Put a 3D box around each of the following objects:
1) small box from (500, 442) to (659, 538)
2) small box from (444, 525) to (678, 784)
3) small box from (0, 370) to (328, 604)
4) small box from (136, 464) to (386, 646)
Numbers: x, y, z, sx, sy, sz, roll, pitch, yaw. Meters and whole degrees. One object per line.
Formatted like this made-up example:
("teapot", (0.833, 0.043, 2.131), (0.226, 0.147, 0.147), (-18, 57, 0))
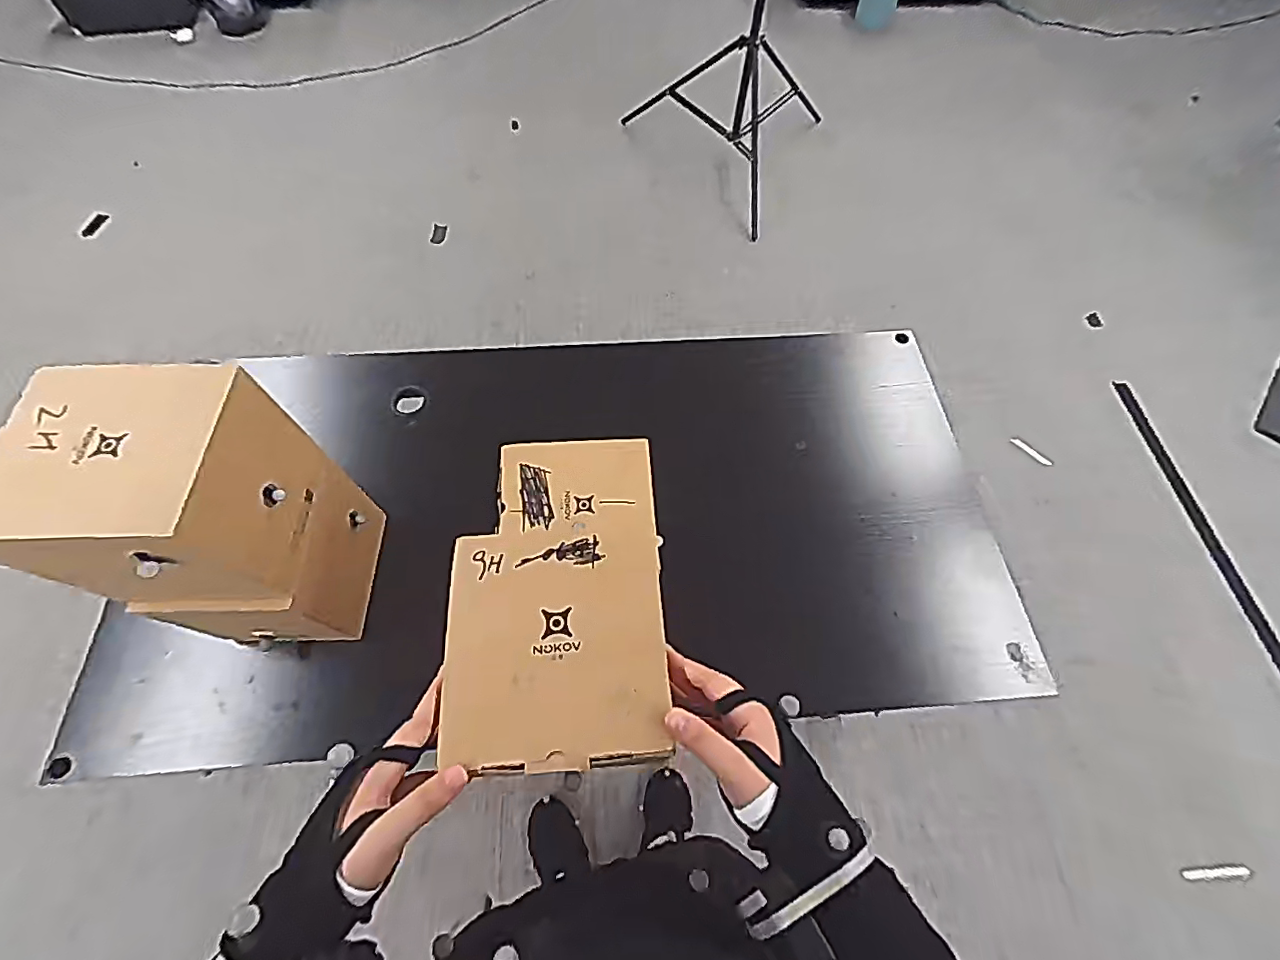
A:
("small box", (-0.070, 0.067, 0.676), (0.179, 0.176, 0.168), (-3, 63, -4))
("small box", (-0.057, 0.156, 0.474), (0.168, 0.176, 0.179), (-5, 63, -1))
("small box", (-0.432, 0.015, 0.509), (0.179, 0.176, 0.168), (-1, 62, -1))
("small box", (-0.430, 0.096, 0.654), (0.168, 0.176, 0.179), (-1, 64, -1))
